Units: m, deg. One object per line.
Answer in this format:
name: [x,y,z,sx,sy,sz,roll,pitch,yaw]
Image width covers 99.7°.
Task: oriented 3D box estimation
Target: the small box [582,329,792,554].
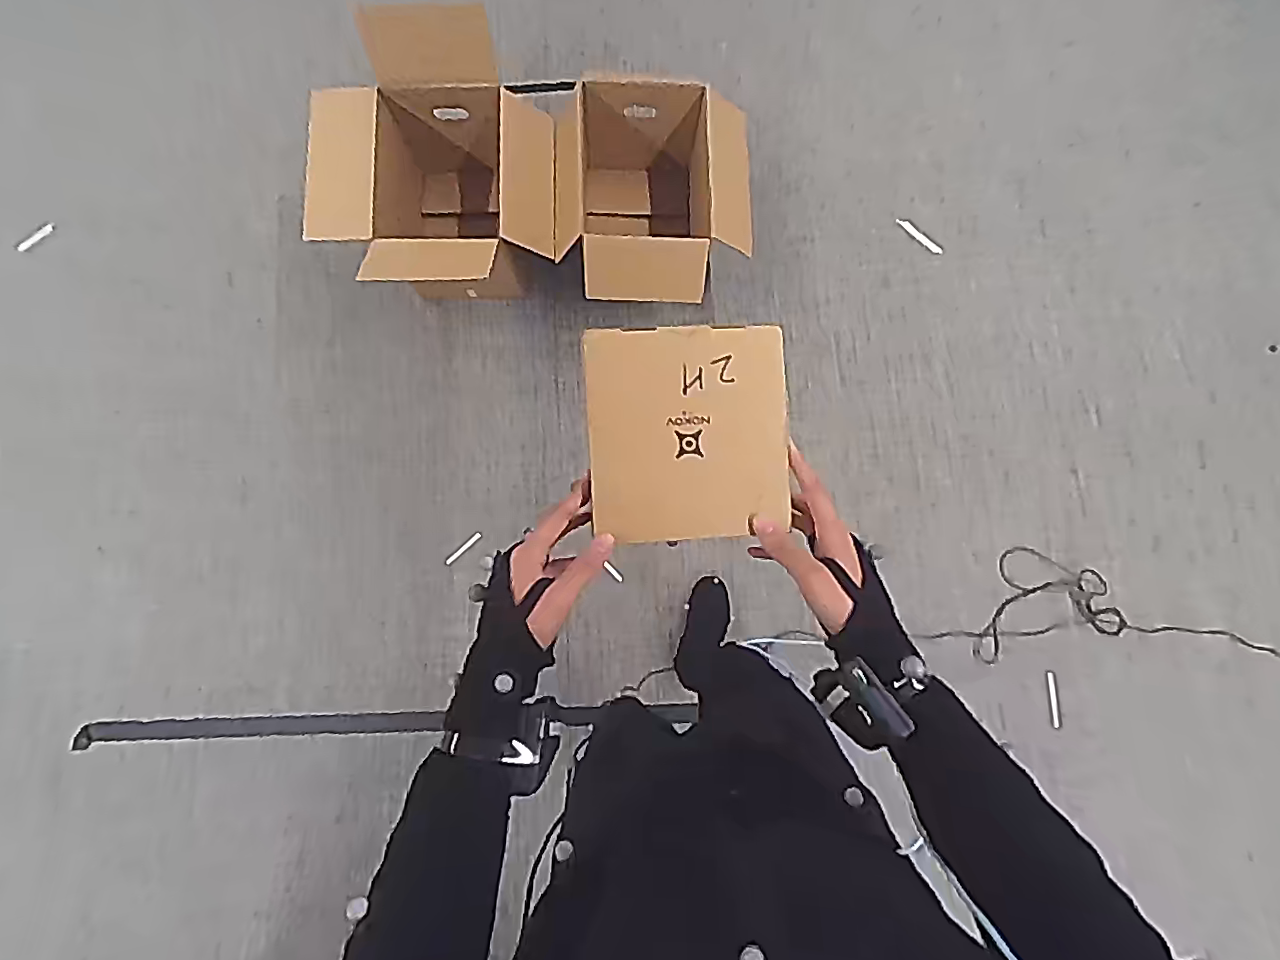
small box: [0.033,-0.033,0.510,0.168,0.176,0.179,-3,90,-6]
